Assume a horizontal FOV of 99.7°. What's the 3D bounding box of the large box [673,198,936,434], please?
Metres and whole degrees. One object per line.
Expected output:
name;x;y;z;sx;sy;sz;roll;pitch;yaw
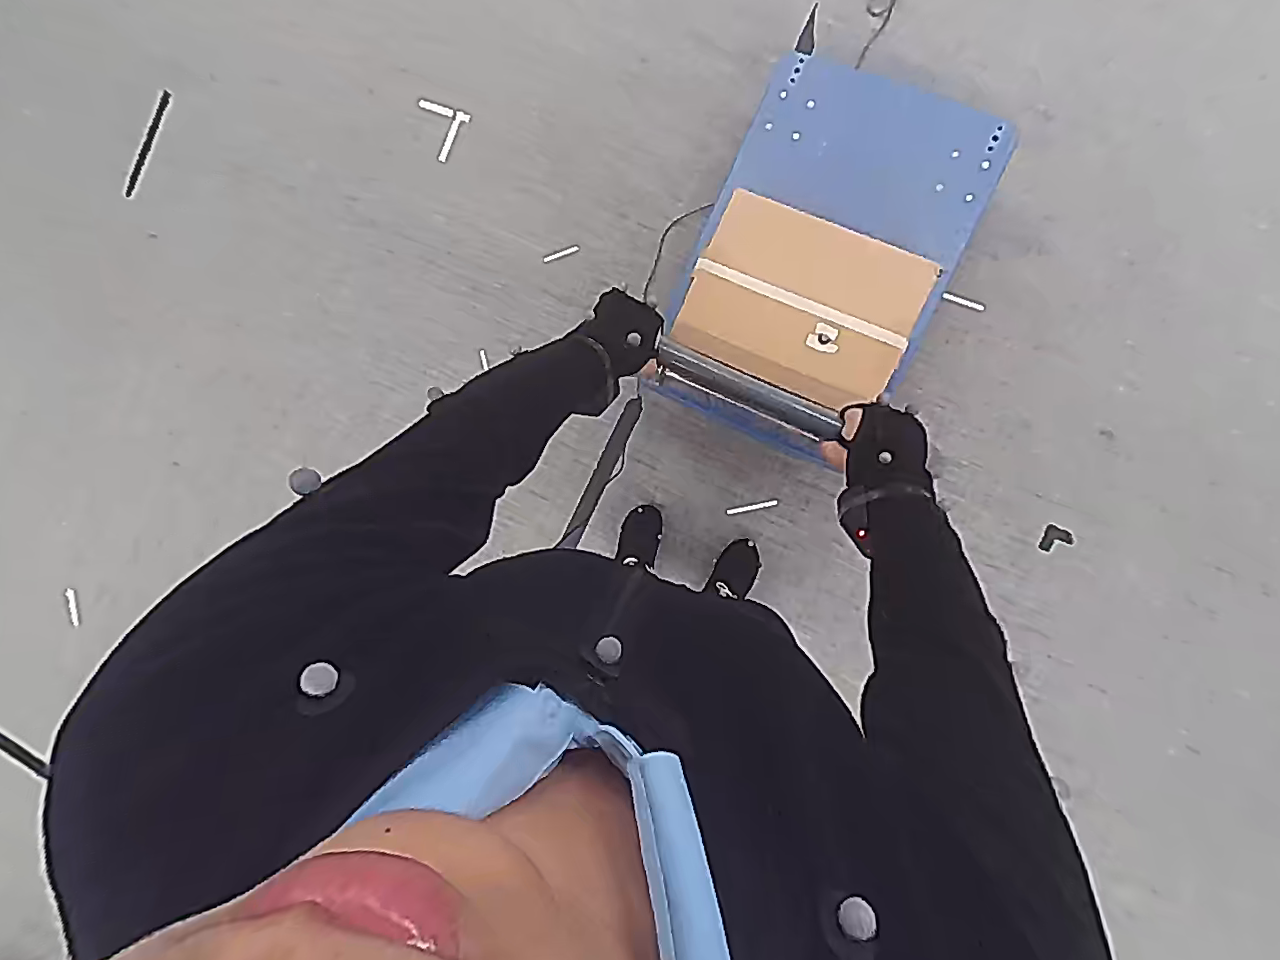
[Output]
large box;0.320;-0.326;1.163;0.408;0.320;0.320;25;94;7
